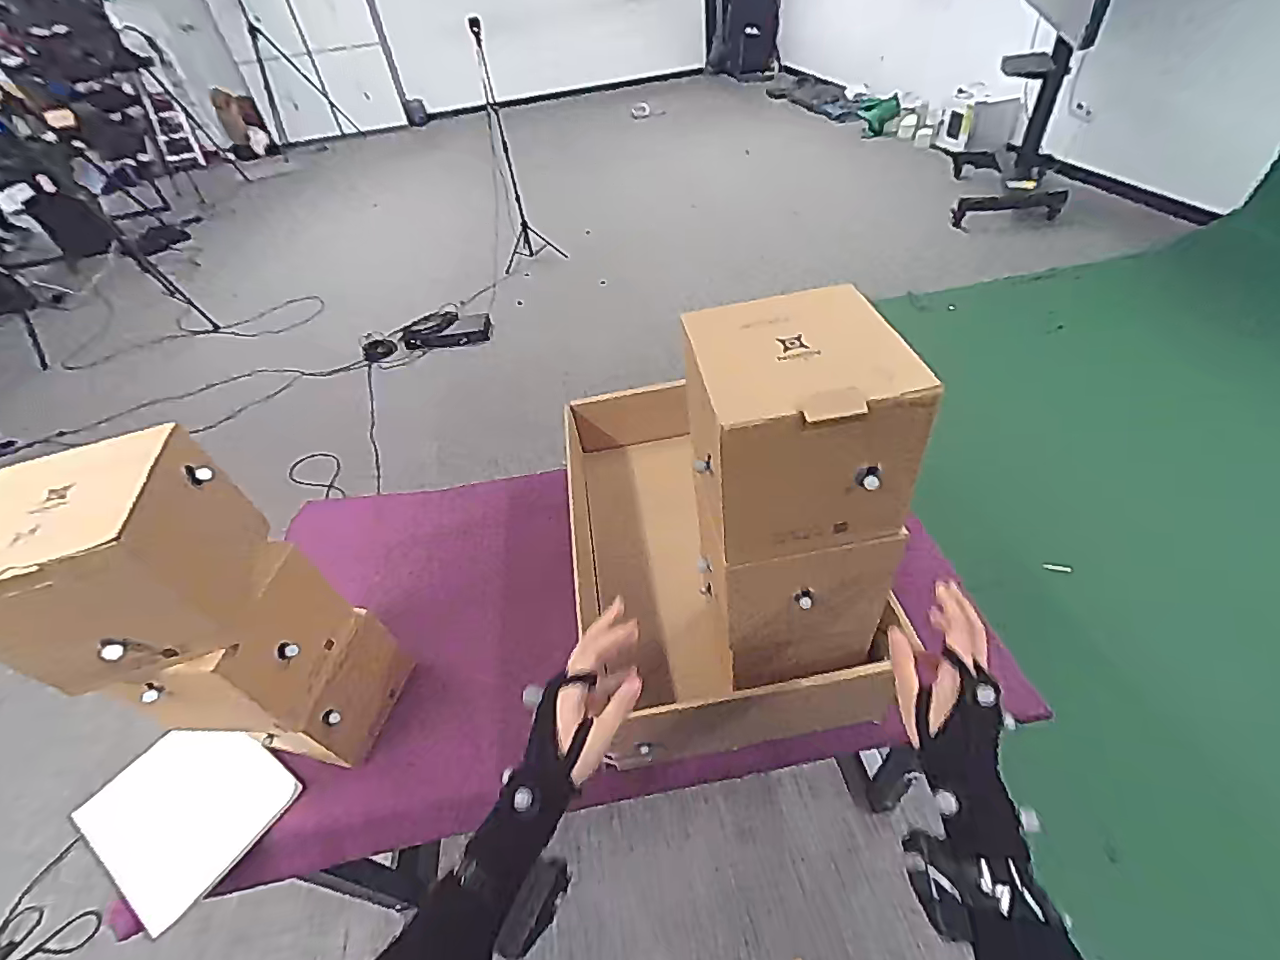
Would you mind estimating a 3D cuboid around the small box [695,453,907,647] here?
[{"bbox_3d":[0.165,0.066,0.612,0.179,0.176,0.168,-11,44,2],"label":"small box"}]

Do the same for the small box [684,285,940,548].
[{"bbox_3d":[0.141,-0.053,0.502,0.168,0.176,0.179,-10,44,1],"label":"small box"}]

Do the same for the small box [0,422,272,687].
[{"bbox_3d":[-0.513,0.074,0.549,0.168,0.176,0.179,-18,45,-8],"label":"small box"}]

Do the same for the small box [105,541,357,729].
[{"bbox_3d":[-0.489,0.190,0.662,0.179,0.176,0.168,-2,45,8],"label":"small box"}]
